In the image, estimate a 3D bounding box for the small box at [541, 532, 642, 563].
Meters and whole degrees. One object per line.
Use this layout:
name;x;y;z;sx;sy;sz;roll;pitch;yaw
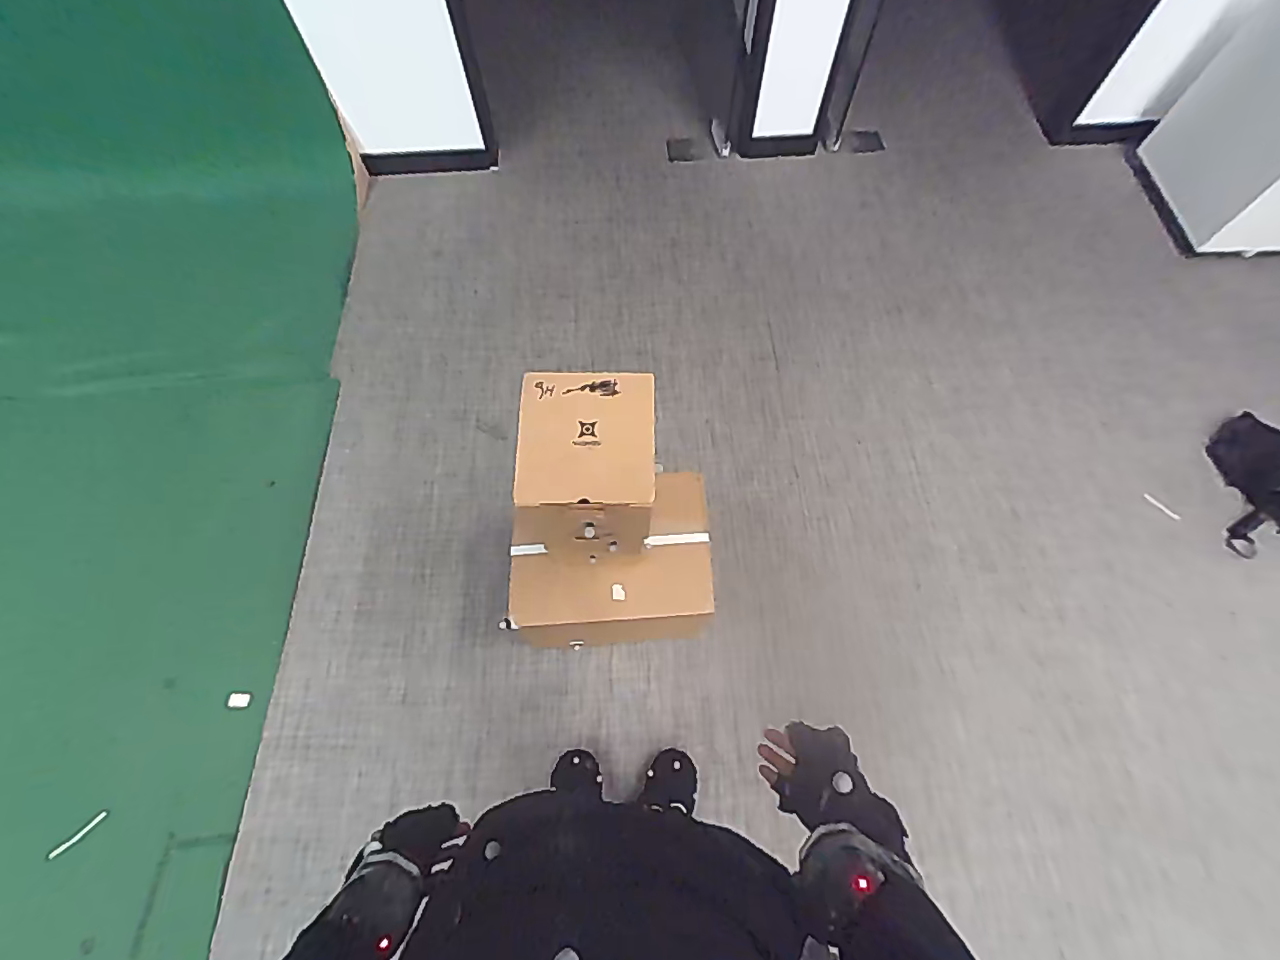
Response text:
small box;-0.083;0.062;1.042;0.179;0.176;0.168;3;70;1

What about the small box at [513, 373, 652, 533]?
small box;-0.067;-0.027;0.732;0.168;0.176;0.179;1;72;-1

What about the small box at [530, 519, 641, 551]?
small box;-0.076;0.015;0.890;0.168;0.176;0.179;4;70;0
